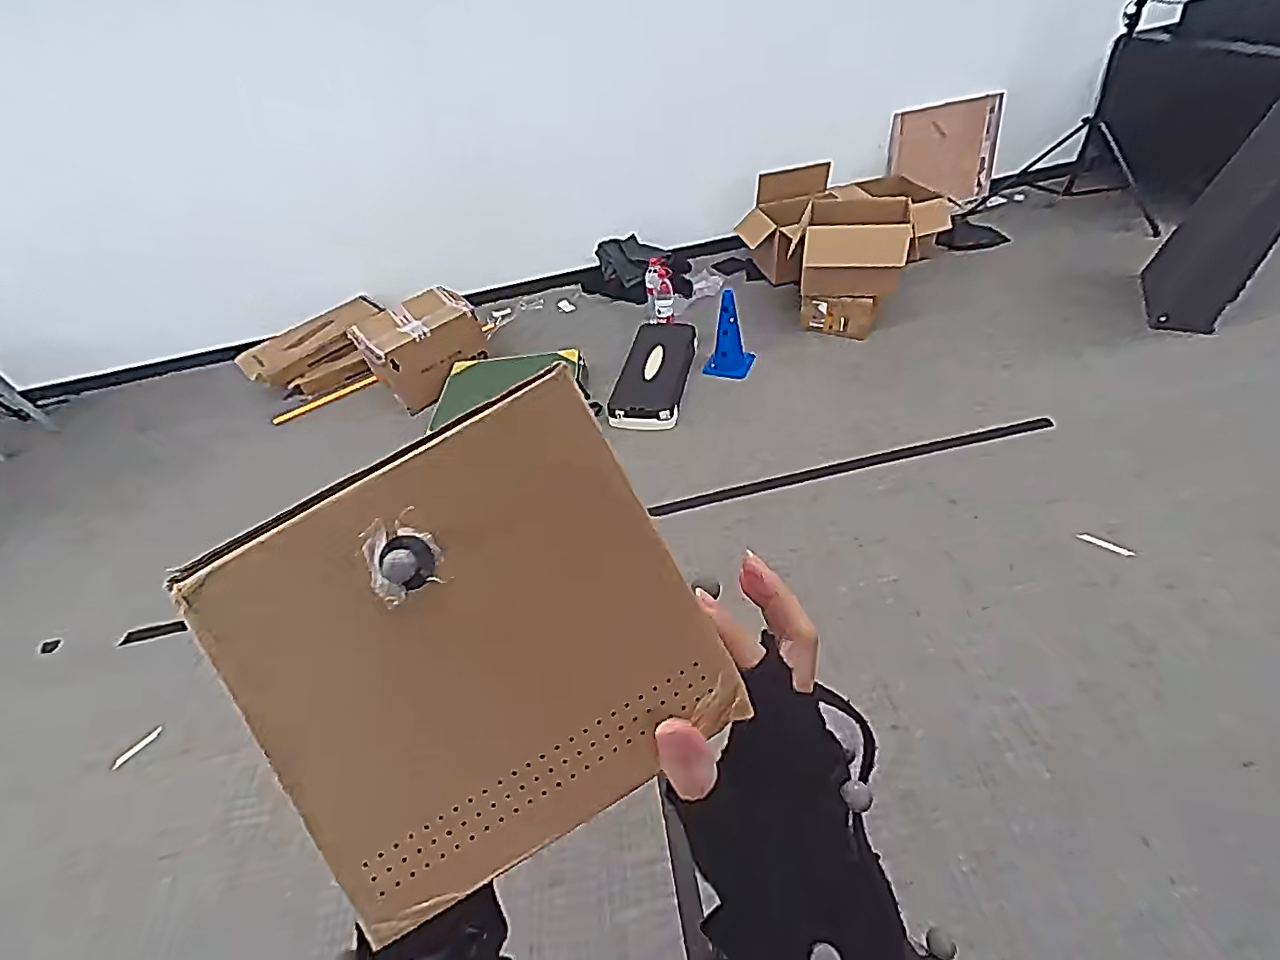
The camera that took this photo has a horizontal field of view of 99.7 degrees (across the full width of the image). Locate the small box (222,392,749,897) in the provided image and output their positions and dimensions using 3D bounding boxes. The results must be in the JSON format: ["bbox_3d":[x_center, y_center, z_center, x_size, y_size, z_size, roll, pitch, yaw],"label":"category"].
[{"bbox_3d":[-0.068,0.076,0.311,0.179,0.168,0.176,-29,92,-6],"label":"small box"}]
